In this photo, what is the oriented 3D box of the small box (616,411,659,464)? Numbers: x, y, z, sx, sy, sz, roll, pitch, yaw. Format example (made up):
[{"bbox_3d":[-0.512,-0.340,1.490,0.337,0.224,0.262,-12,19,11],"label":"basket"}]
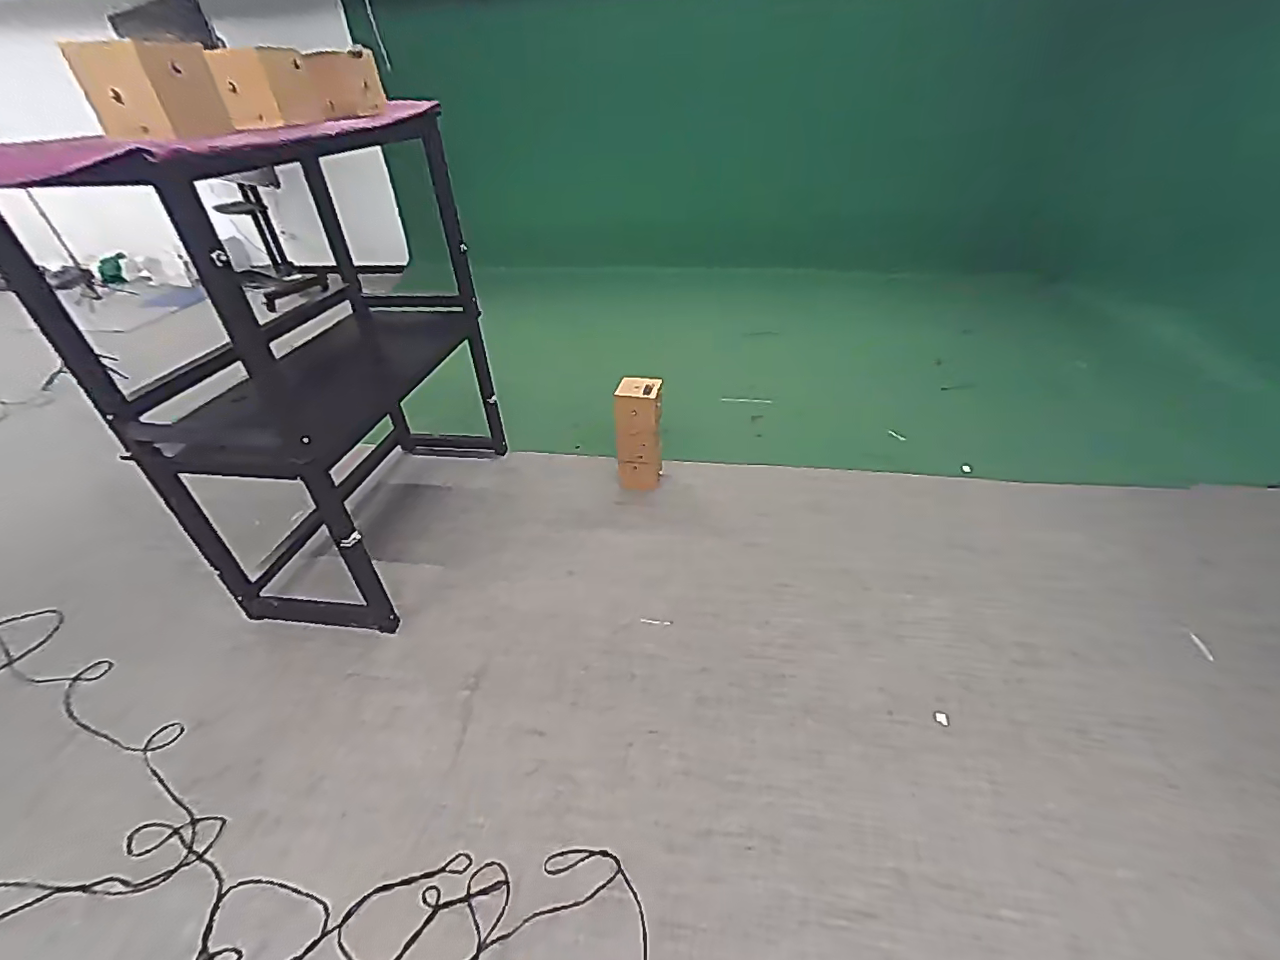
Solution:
[{"bbox_3d":[-0.006,-0.189,2.414,0.168,0.176,0.179,6,37,9],"label":"small box"}]

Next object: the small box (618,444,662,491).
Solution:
[{"bbox_3d":[0.003,-0.064,2.516,0.179,0.176,0.168,6,38,10],"label":"small box"}]

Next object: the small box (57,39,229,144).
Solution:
[{"bbox_3d":[-1.028,-0.814,1.141,0.168,0.176,0.179,4,36,7],"label":"small box"}]

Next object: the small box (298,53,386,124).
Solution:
[{"bbox_3d":[-0.949,-1.244,1.719,0.179,0.176,0.168,6,39,15],"label":"small box"}]

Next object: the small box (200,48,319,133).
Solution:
[{"bbox_3d":[-0.997,-1.026,1.434,0.168,0.176,0.179,2,36,9],"label":"small box"}]
